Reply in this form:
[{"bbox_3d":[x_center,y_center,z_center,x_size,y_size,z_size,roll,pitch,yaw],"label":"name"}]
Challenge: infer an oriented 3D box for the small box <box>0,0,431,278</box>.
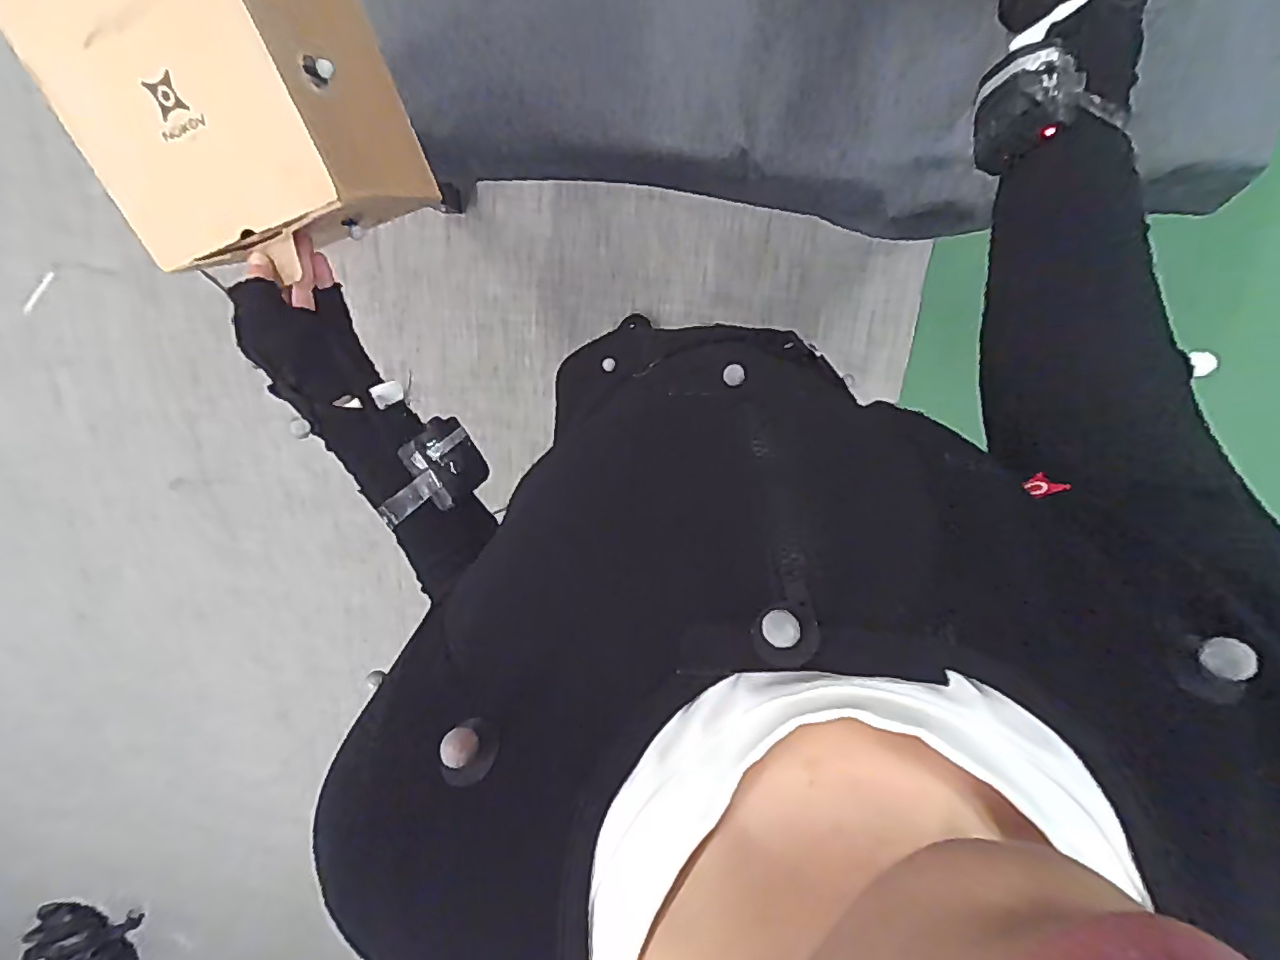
[{"bbox_3d":[-0.297,-0.279,0.420,0.168,0.176,0.179,-14,115,12],"label":"small box"}]
